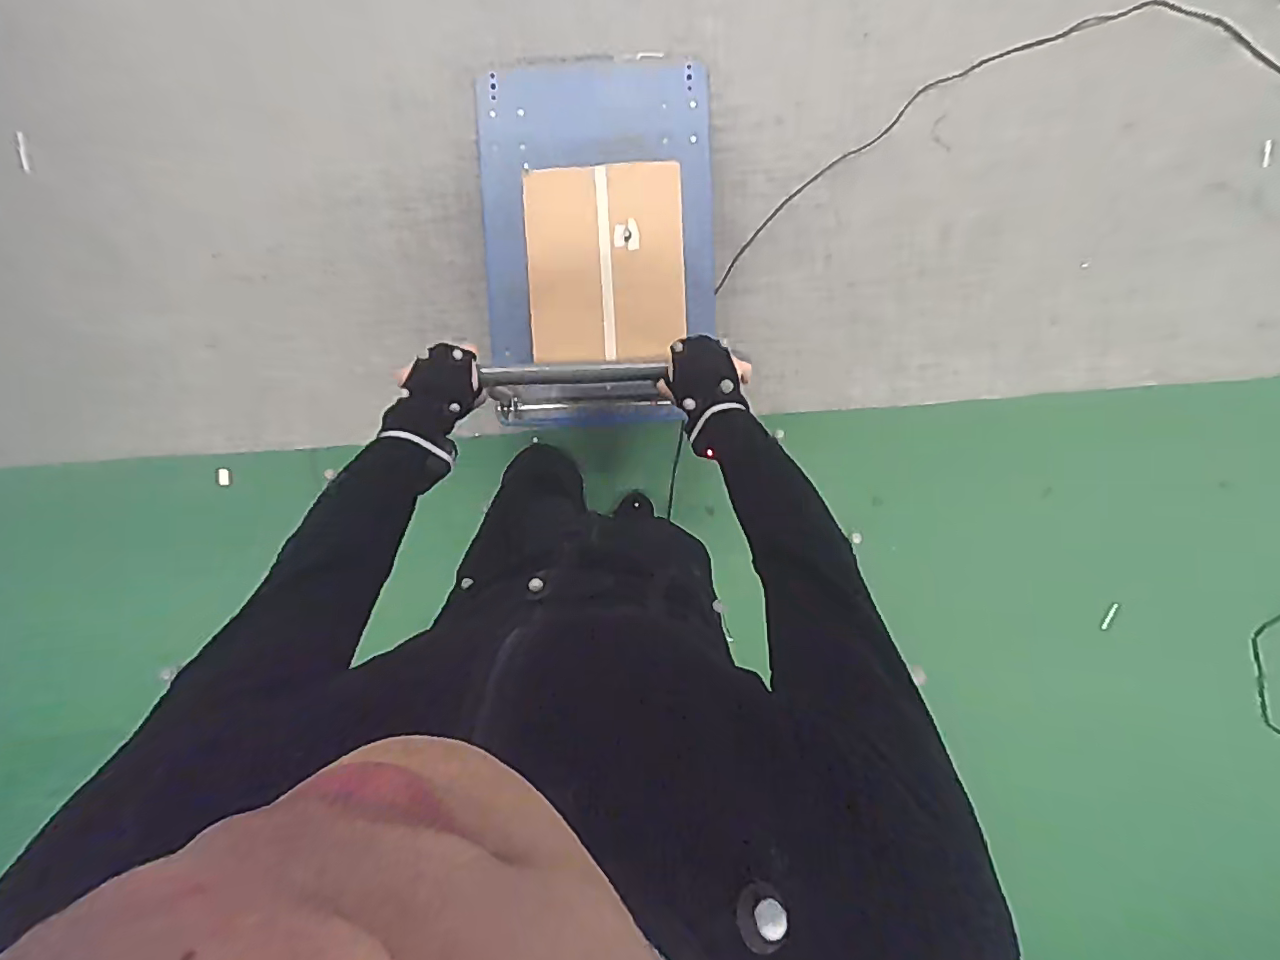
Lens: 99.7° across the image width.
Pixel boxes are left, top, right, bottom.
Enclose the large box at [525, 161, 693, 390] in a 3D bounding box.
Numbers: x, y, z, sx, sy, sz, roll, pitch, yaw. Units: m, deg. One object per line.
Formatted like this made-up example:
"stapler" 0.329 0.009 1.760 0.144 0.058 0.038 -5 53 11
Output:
"large box" -0.057 -0.422 1.212 0.320 0.320 0.408 -3 95 0
